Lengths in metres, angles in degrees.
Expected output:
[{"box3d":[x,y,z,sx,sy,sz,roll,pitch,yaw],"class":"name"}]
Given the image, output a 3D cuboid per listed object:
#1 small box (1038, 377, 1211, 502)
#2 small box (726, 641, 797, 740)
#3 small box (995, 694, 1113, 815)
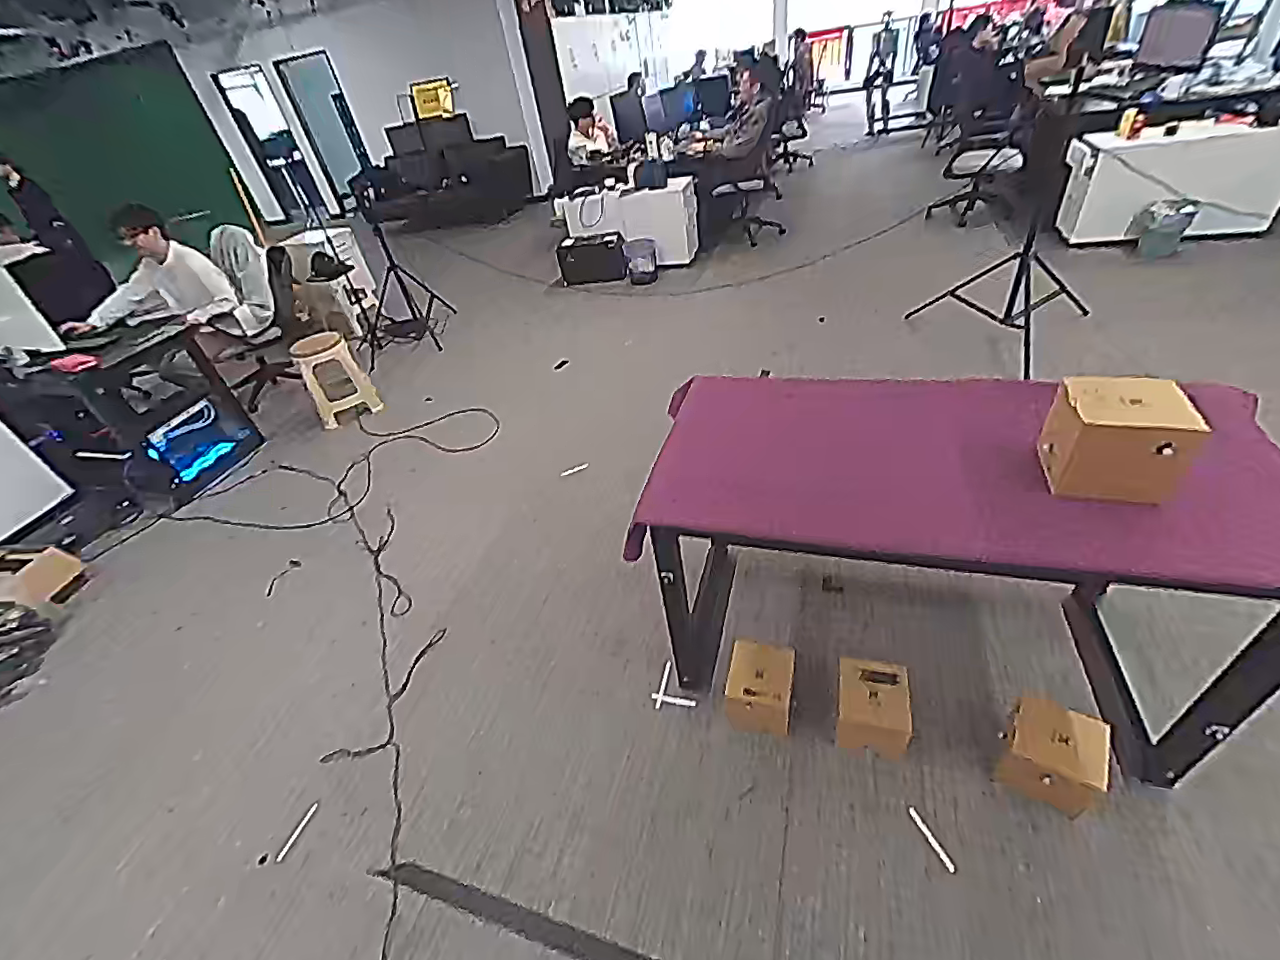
[{"box3d":[0.885,-0.076,1.010,0.179,0.176,0.168,5,41,20],"class":"small box"},{"box3d":[0.339,0.584,1.504,0.168,0.176,0.179,6,40,20],"class":"small box"},{"box3d":[0.968,0.649,1.271,0.179,0.176,0.168,16,47,32],"class":"small box"}]
